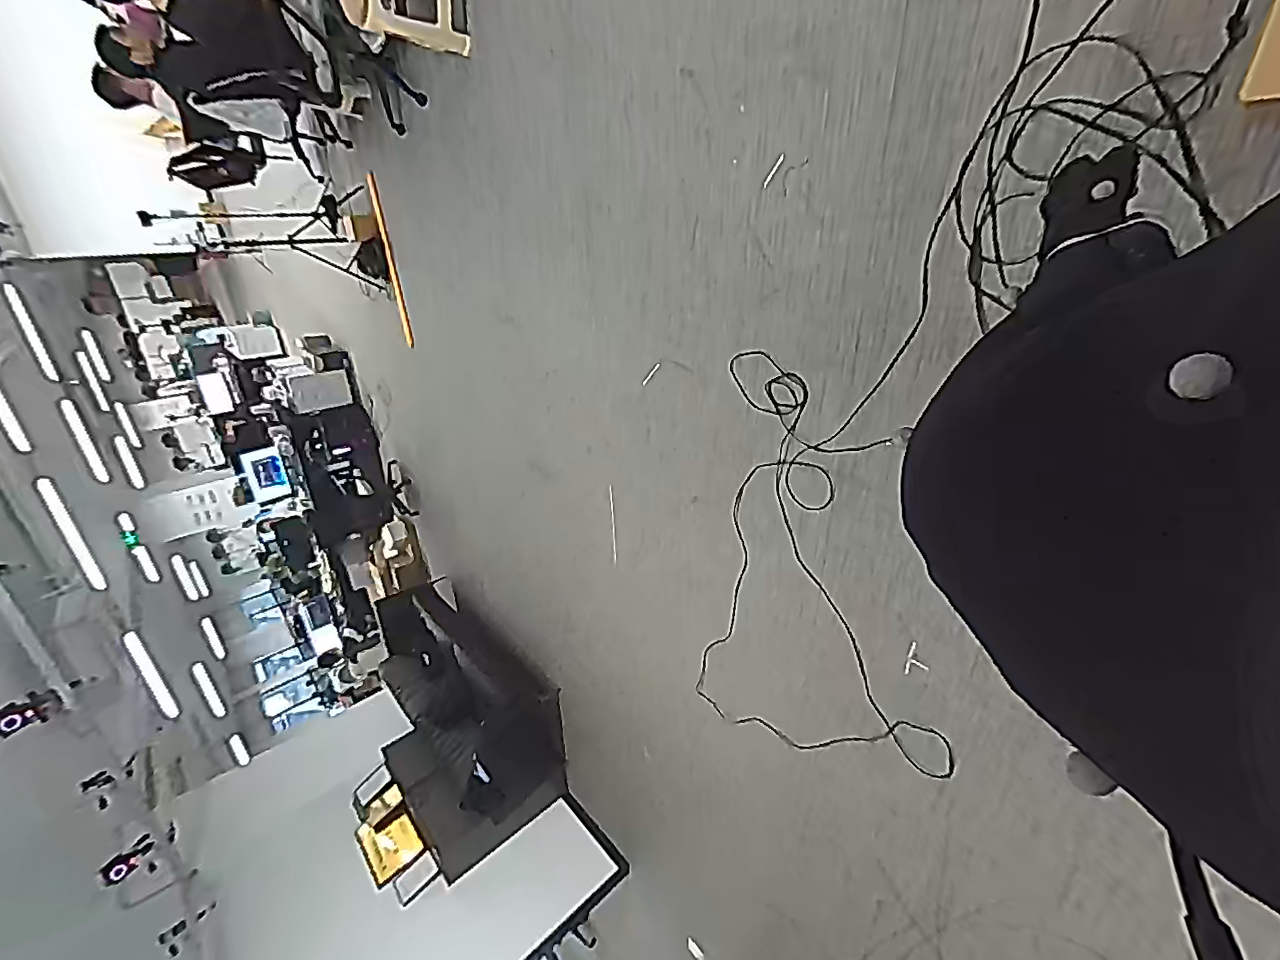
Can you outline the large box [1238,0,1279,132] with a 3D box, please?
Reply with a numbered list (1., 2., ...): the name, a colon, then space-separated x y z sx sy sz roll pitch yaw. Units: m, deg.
1. large box: 1.062 -0.636 0.644 0.408 0.320 0.320 24 125 41
